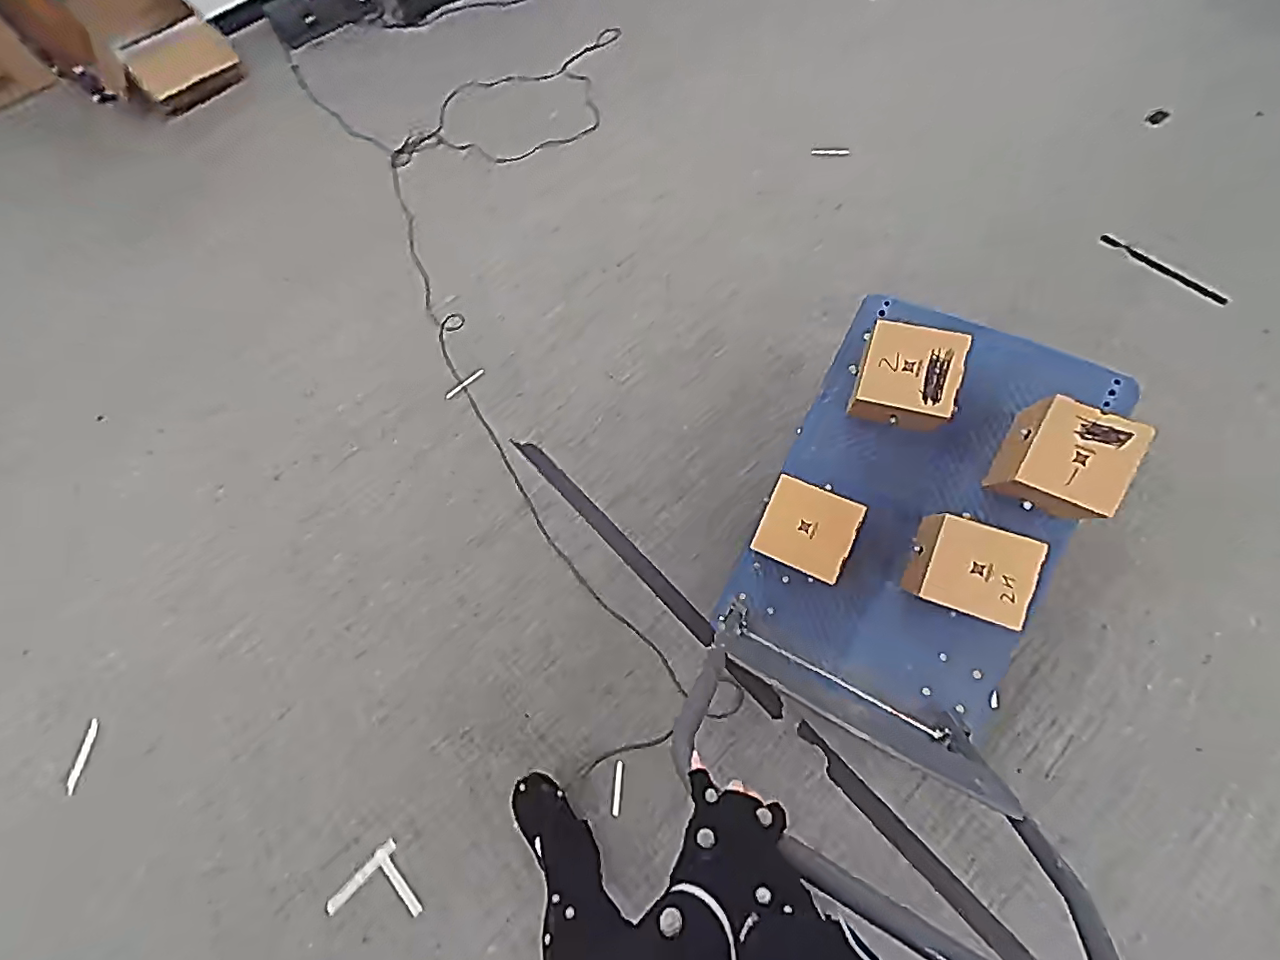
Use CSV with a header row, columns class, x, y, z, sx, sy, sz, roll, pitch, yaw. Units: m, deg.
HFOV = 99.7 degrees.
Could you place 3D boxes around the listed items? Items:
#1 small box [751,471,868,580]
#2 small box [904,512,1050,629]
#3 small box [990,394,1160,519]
class,x,y,z,sx,sy,sz,roll,pitch,yaw
small box,0.349,0.097,1.138,0.179,0.176,0.168,24,91,14
small box,0.641,0.171,1.054,0.179,0.176,0.168,20,90,16
small box,0.809,-0.038,1.030,0.168,0.176,0.179,27,93,16
